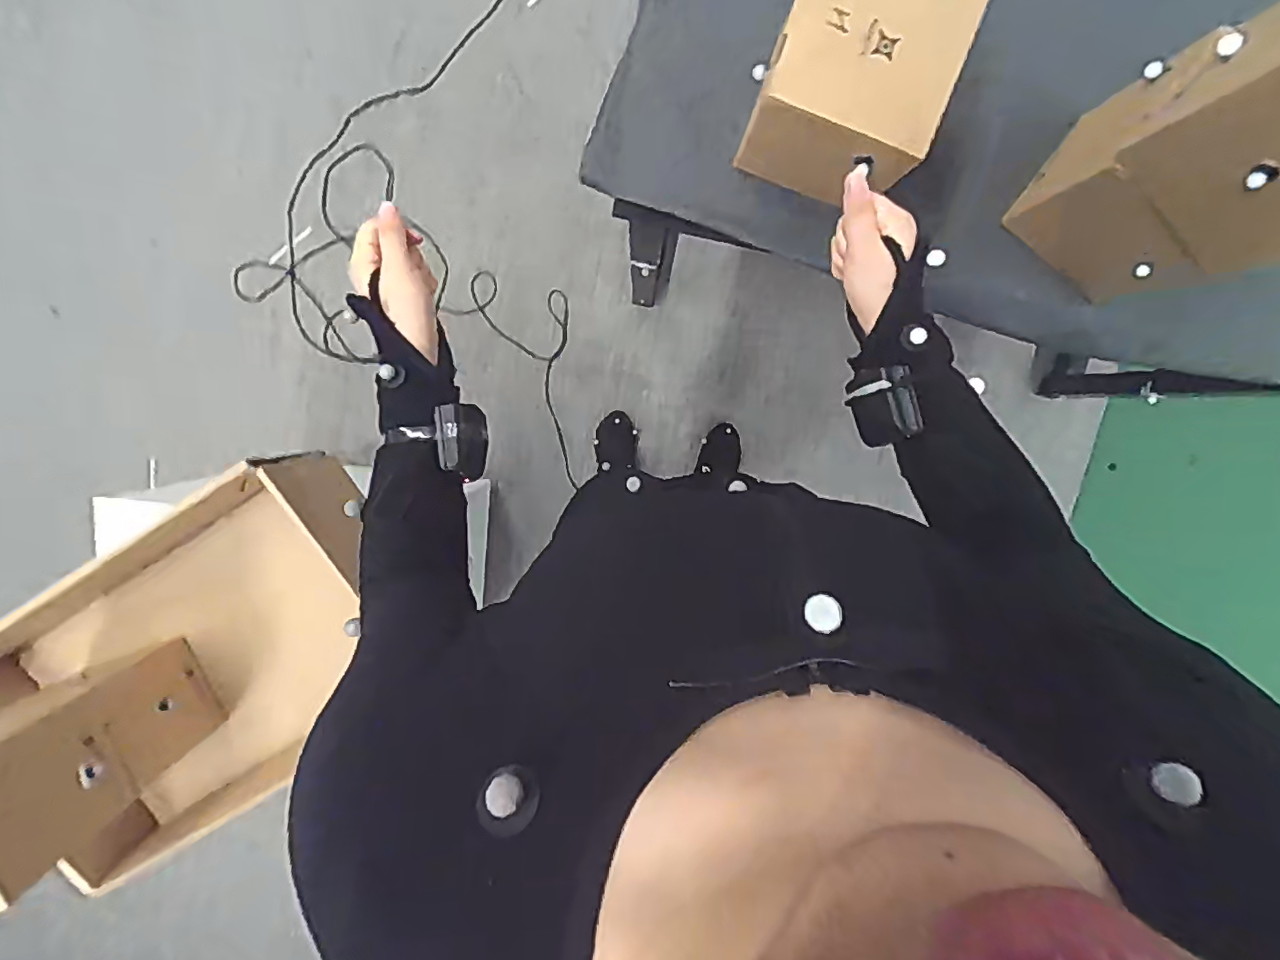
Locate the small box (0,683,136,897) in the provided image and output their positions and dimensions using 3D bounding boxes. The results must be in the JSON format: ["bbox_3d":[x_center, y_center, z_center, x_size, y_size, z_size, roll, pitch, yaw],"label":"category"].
[{"bbox_3d":[-0.782,0.375,0.646,0.179,0.176,0.168,-16,101,0],"label":"small box"}]

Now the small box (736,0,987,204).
[{"bbox_3d":[0.227,-0.437,0.605,0.179,0.176,0.168,20,98,-3],"label":"small box"}]
